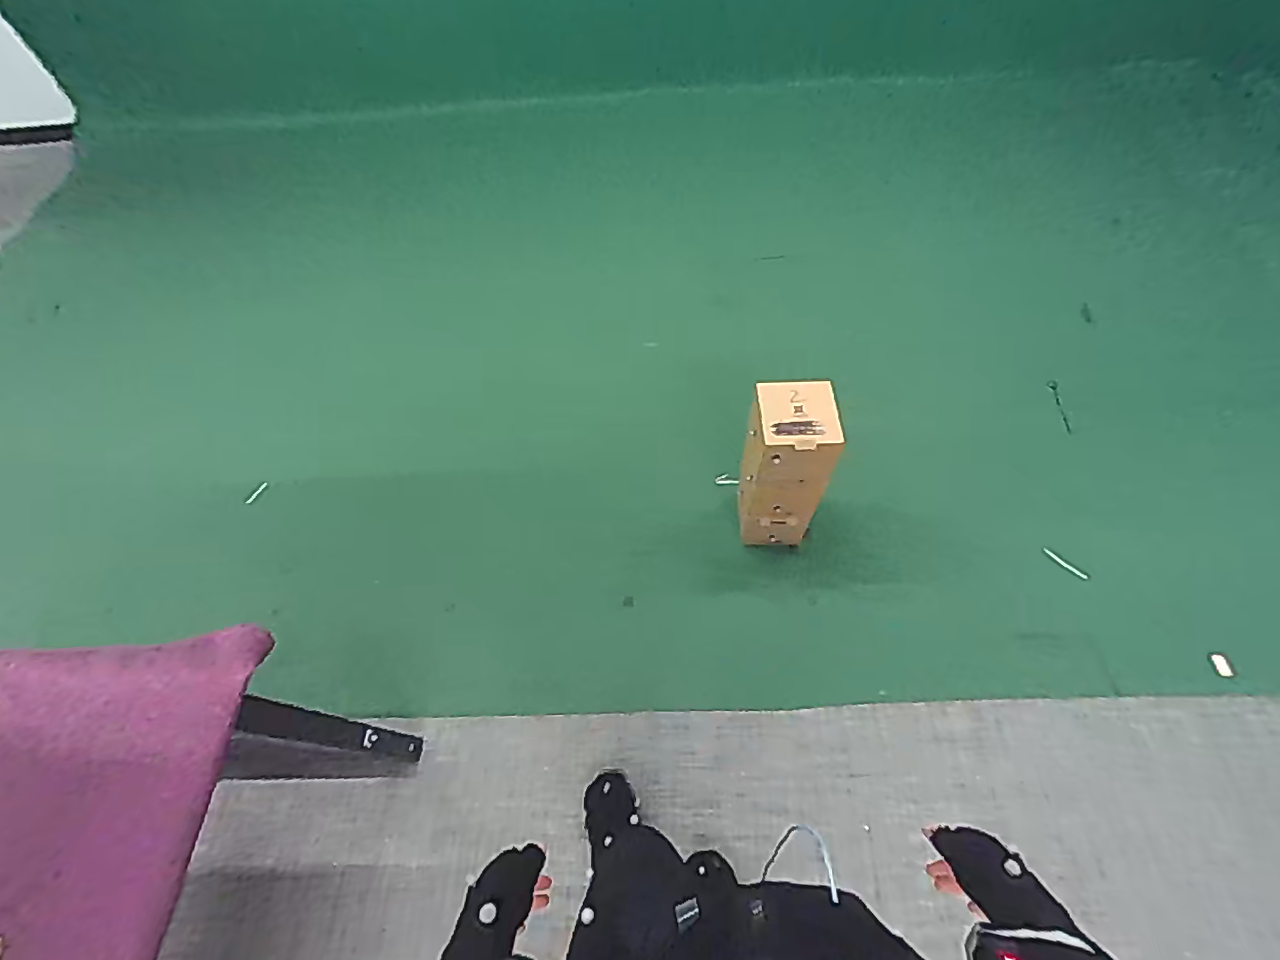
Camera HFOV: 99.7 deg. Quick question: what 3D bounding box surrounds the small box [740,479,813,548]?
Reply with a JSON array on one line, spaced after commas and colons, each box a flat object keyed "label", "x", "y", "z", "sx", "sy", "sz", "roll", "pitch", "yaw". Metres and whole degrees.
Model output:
[{"label": "small box", "x": 0.375, "y": 0.074, "z": 1.515, "sx": 0.168, "sy": 0.176, "sz": 0.179, "roll": -1, "pitch": 59, "yaw": 4}]

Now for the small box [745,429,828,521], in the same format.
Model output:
[{"label": "small box", "x": 0.364, "y": -0.011, "z": 1.377, "sx": 0.168, "sy": 0.176, "sz": 0.179, "roll": -2, "pitch": 59, "yaw": 3}]
